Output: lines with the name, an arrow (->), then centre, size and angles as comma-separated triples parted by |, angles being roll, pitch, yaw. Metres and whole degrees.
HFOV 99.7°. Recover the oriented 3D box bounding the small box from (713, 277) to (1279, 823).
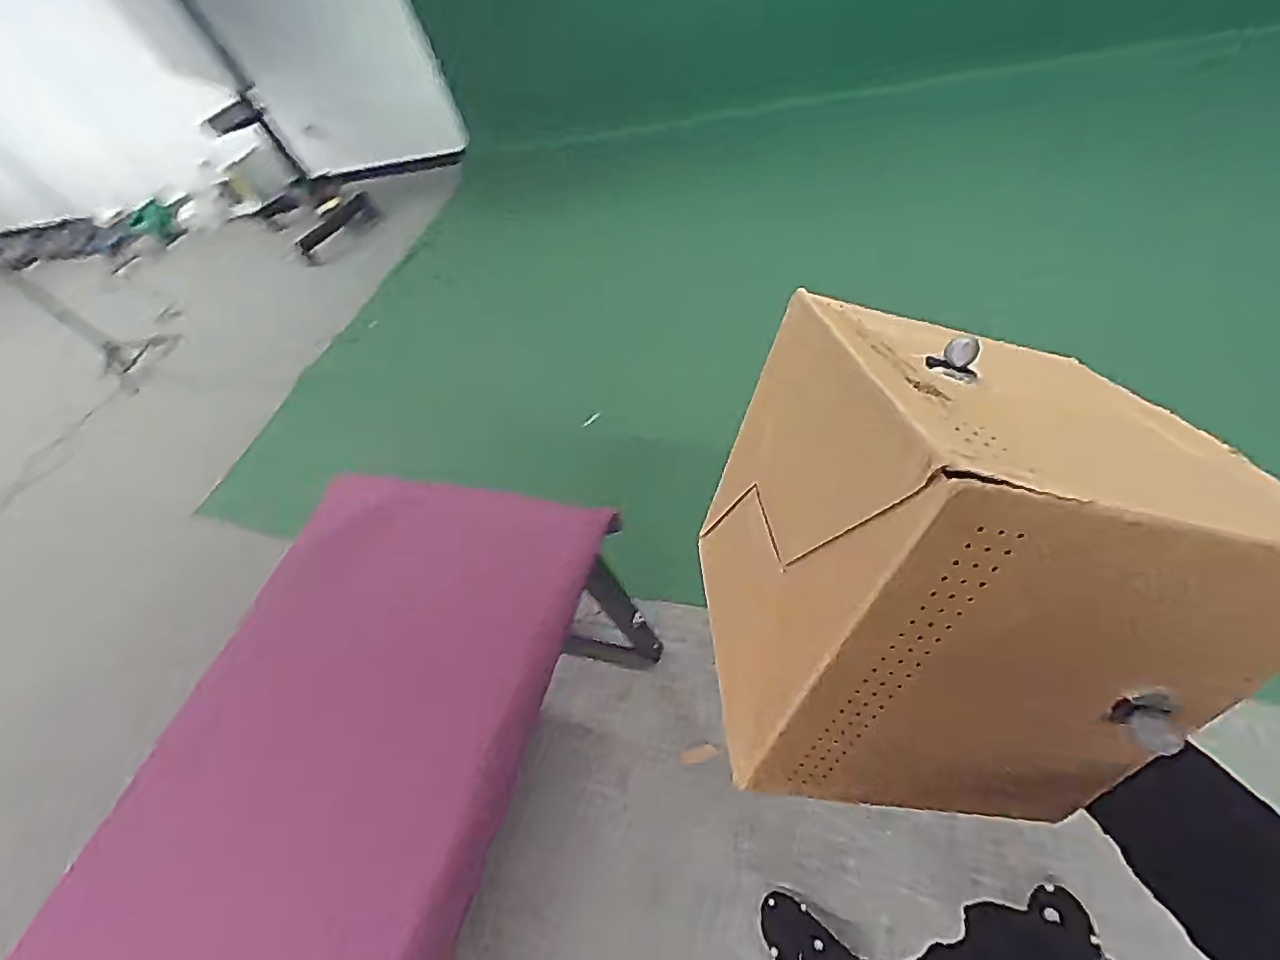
small box -> 0.142, 0.028, 0.257 | 0.176, 0.179, 0.168 | 12, 35, -8
